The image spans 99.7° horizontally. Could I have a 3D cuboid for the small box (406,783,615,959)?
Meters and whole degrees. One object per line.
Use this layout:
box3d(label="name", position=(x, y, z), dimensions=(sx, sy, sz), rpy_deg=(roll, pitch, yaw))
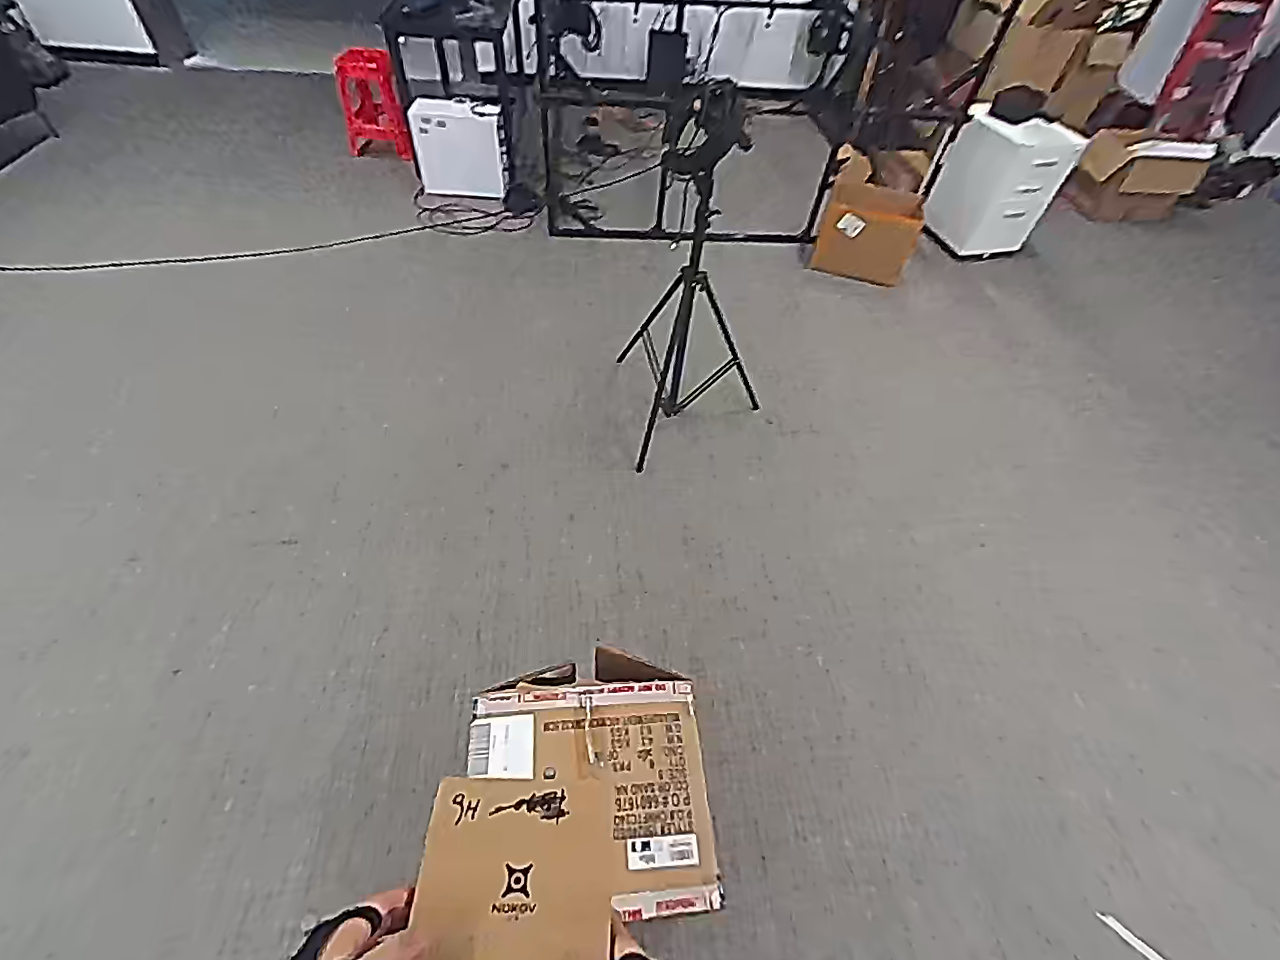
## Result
box3d(label="small box", position=(-0.109, 0.406, 0.517), dimensions=(0.168, 0.176, 0.179), rpy_deg=(2, 49, -4))
